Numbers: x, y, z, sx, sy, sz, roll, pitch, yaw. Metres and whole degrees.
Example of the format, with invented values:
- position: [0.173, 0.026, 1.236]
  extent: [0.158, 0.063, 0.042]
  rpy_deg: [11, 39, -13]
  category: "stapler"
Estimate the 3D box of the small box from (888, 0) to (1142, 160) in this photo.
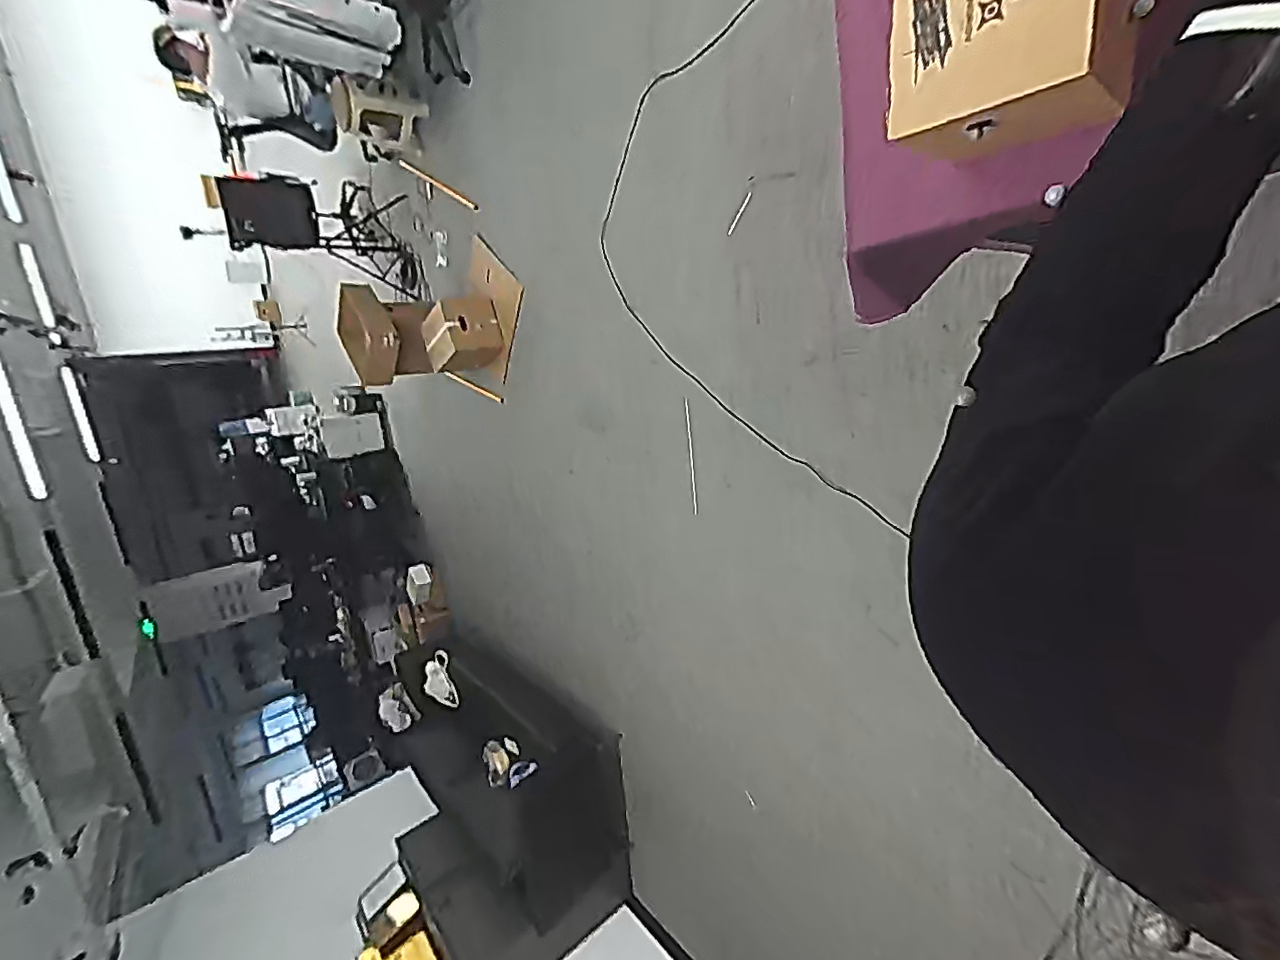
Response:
- position: [0.384, -0.454, 0.560]
  extent: [0.179, 0.176, 0.168]
  rpy_deg: [11, 110, 48]
  category: "small box"
